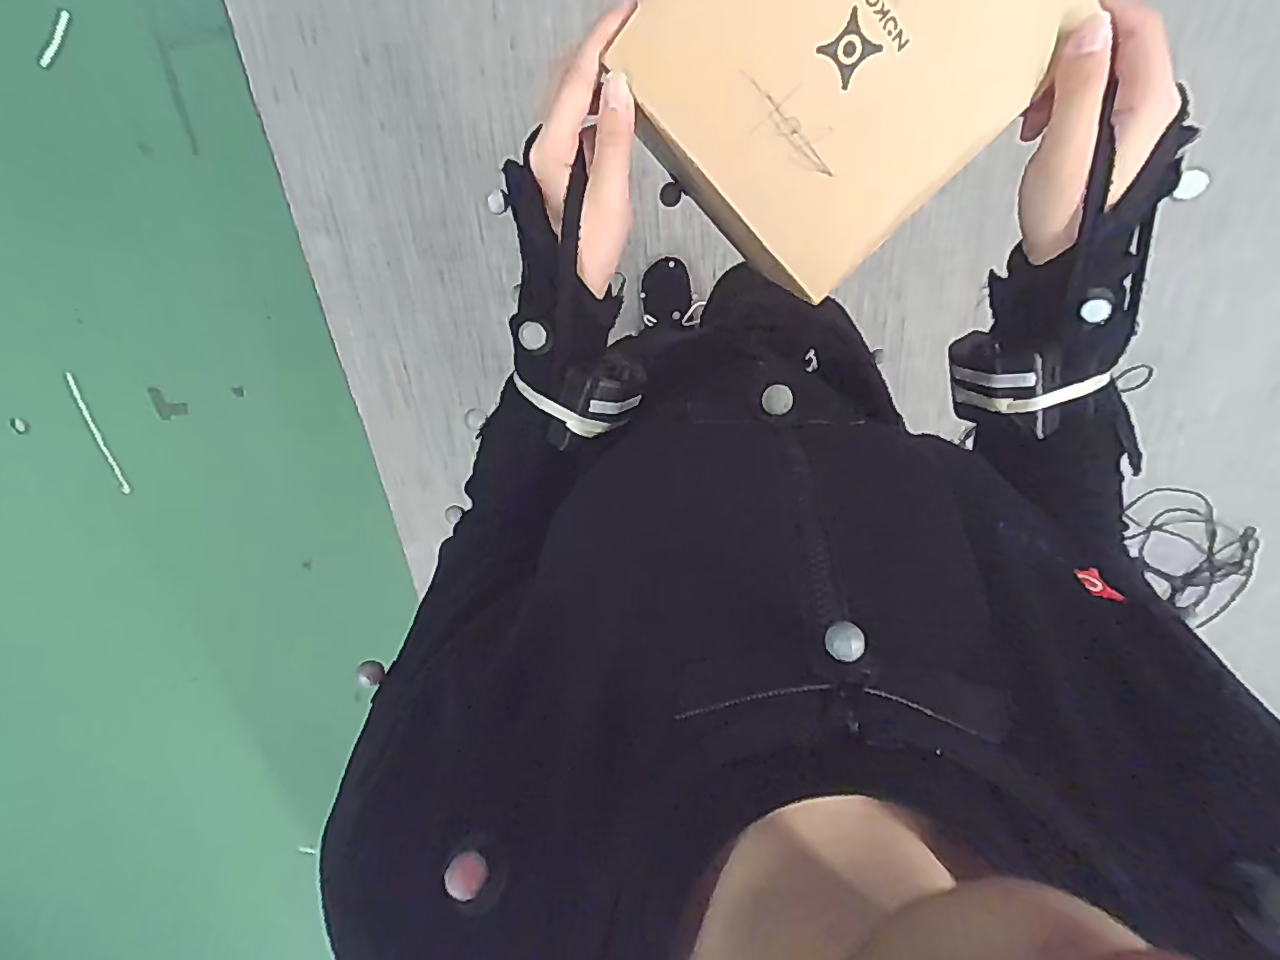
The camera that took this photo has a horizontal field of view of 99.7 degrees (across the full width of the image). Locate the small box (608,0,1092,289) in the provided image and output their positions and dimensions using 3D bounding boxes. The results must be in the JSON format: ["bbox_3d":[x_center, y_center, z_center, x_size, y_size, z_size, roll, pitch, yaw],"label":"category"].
[{"bbox_3d":[0.097,-0.250,0.328,0.168,0.176,0.179,40,111,-18],"label":"small box"}]
